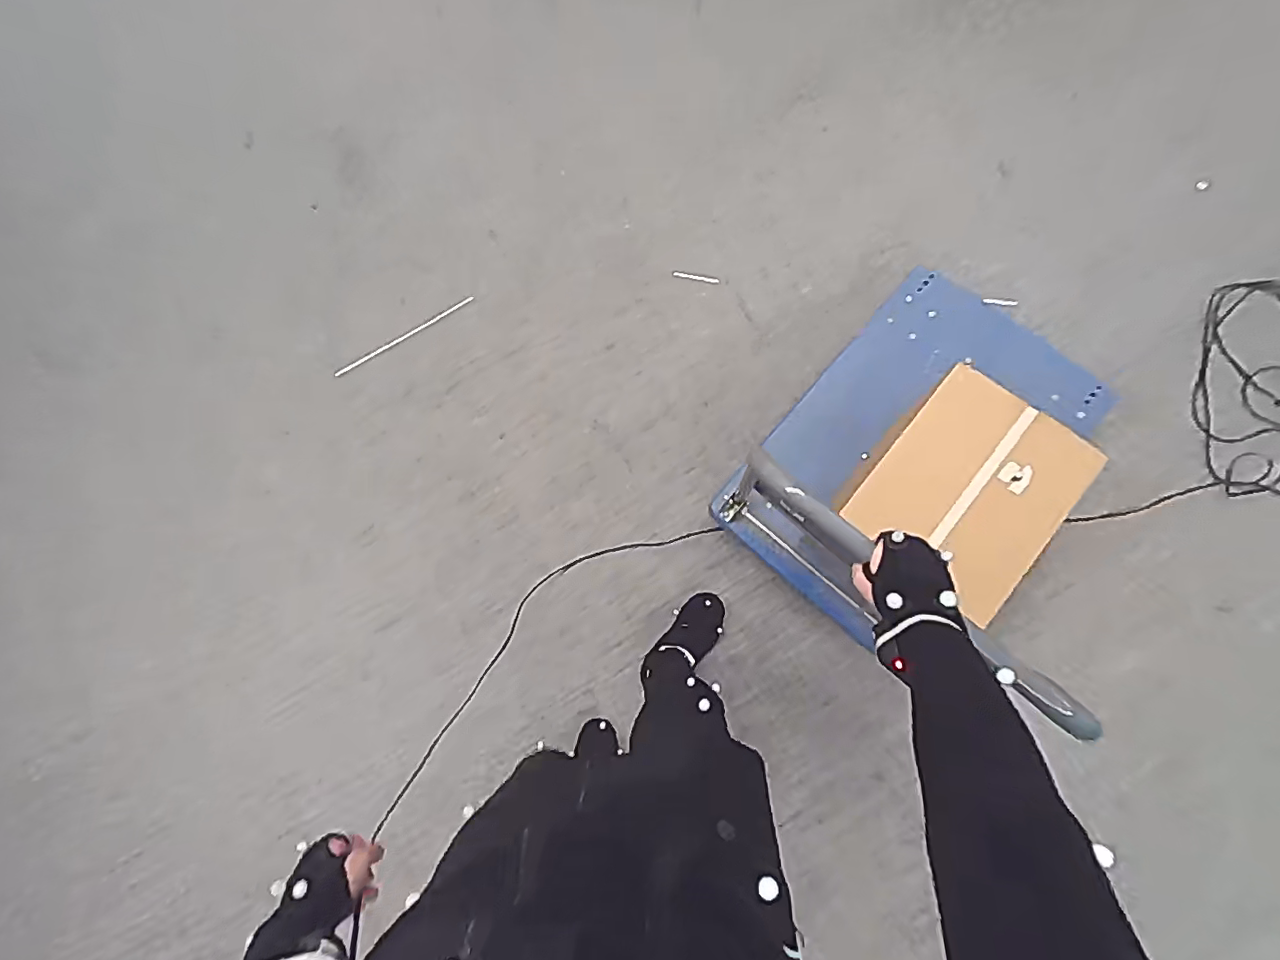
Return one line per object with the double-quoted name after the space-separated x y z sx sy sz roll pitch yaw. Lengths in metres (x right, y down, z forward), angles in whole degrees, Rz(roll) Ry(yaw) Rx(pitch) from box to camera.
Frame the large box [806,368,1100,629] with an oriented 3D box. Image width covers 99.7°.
0.617 0.057 1.140 0.320 0.320 0.408 39 82 11 "large box"
